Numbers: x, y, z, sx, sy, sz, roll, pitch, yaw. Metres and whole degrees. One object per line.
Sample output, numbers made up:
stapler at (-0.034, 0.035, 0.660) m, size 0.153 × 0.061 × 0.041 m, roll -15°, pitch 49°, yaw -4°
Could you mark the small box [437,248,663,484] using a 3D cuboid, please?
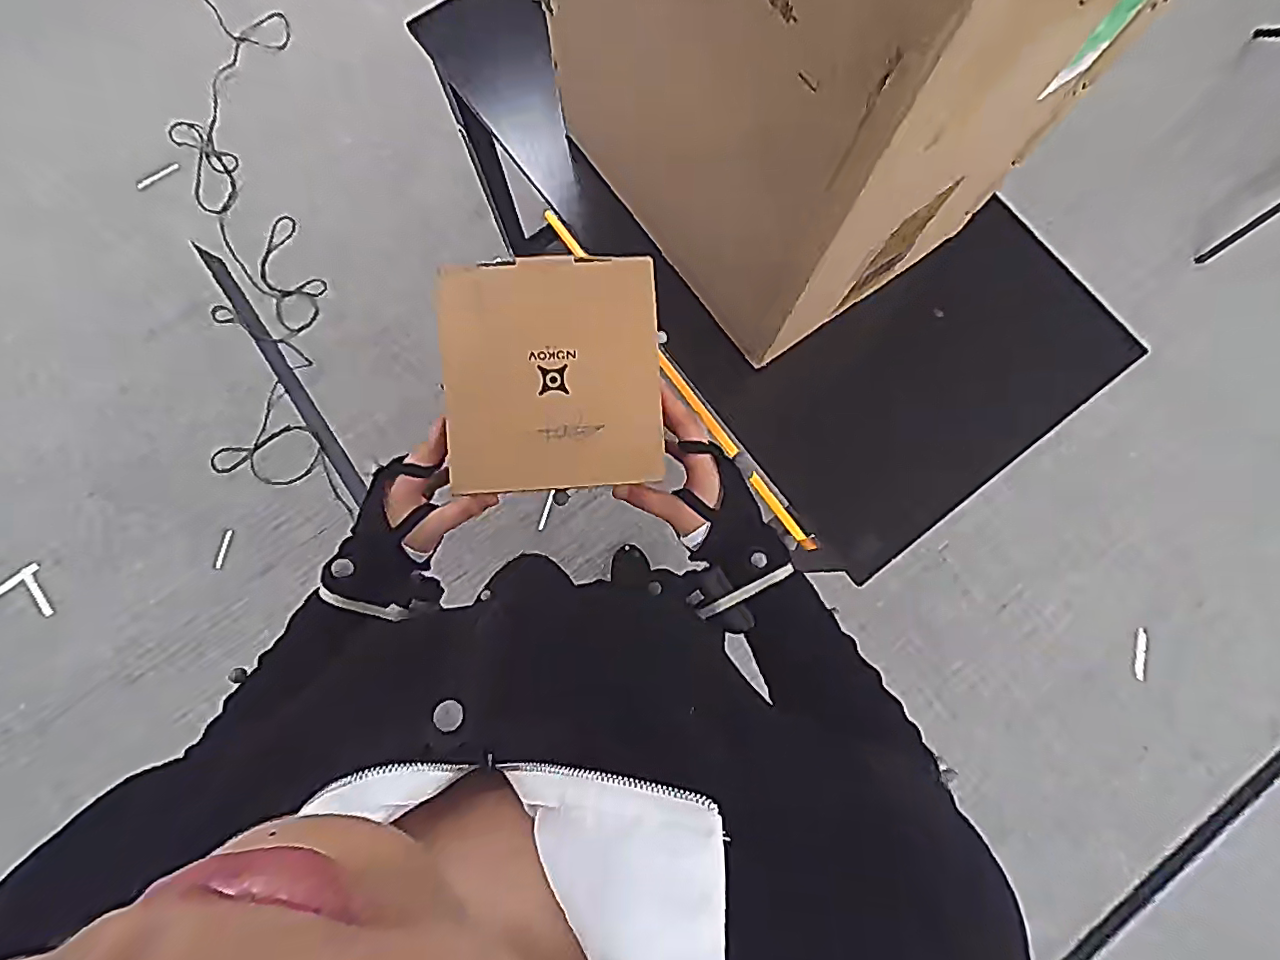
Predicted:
small box at (-0.072, -0.087, 0.487) m, size 0.168 × 0.176 × 0.179 m, roll -3°, pitch 91°, yaw -3°
